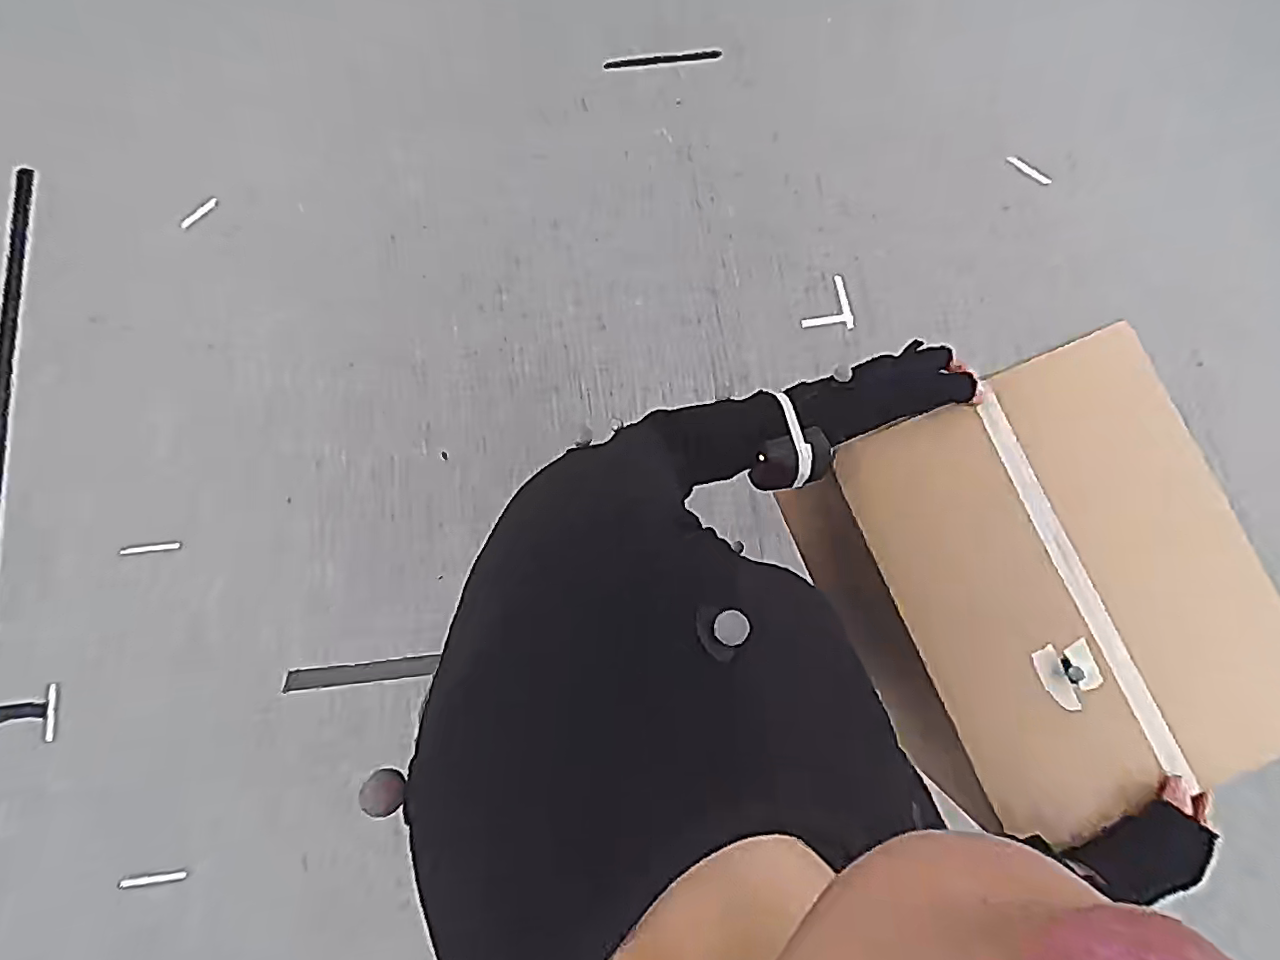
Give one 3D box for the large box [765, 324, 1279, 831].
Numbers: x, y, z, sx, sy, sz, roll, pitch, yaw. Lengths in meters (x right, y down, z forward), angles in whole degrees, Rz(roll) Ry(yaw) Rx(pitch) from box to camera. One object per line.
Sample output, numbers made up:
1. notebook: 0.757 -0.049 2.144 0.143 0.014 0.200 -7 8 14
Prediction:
1. large box: 0.399 0.094 0.661 0.320 0.320 0.408 -24 86 1
